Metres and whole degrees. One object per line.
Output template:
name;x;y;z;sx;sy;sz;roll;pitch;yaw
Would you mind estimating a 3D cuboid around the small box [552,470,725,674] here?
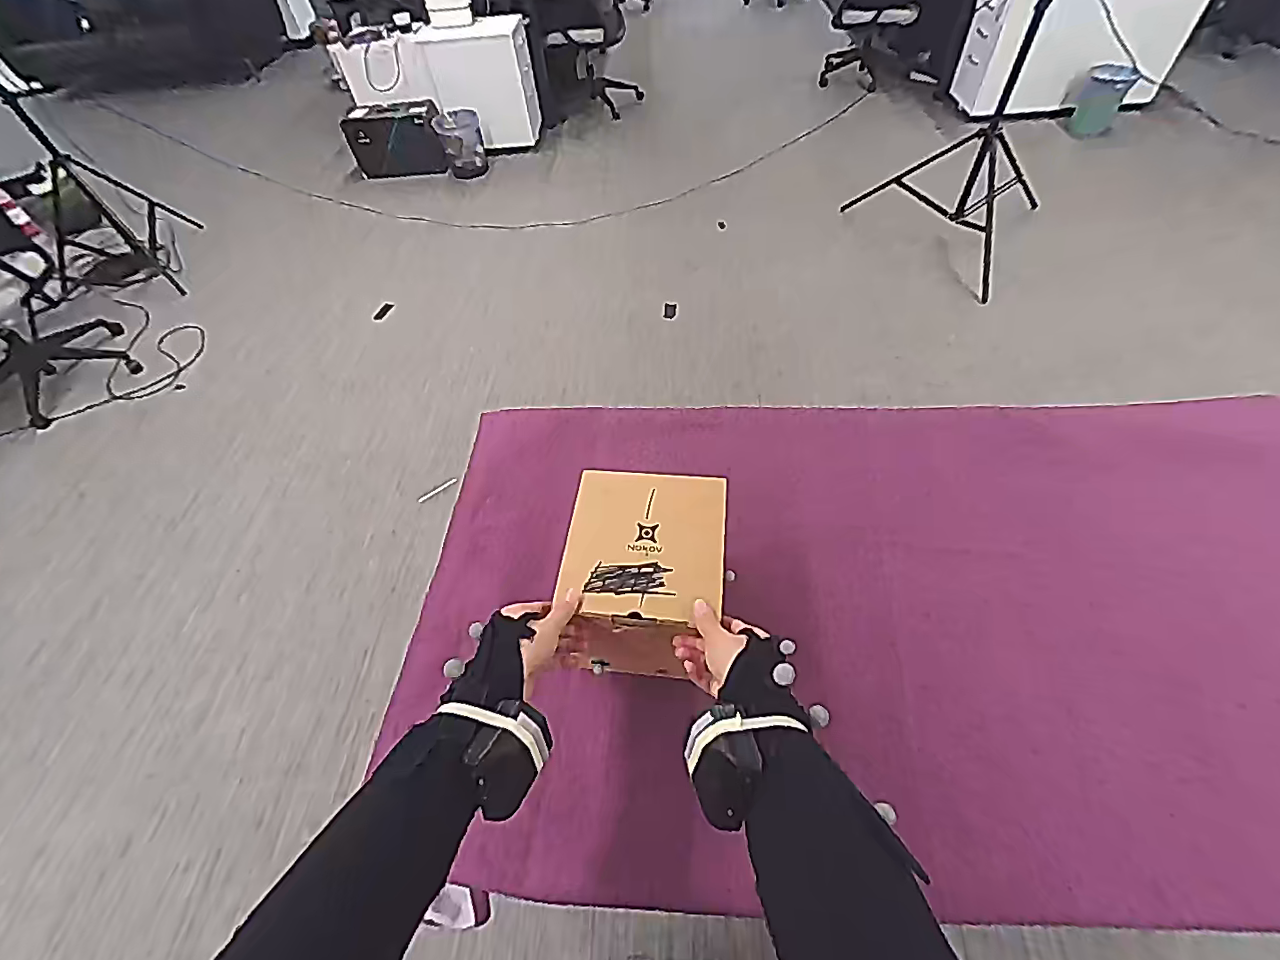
small box;0.010;0.110;0.628;0.168;0.176;0.179;3;52;7
